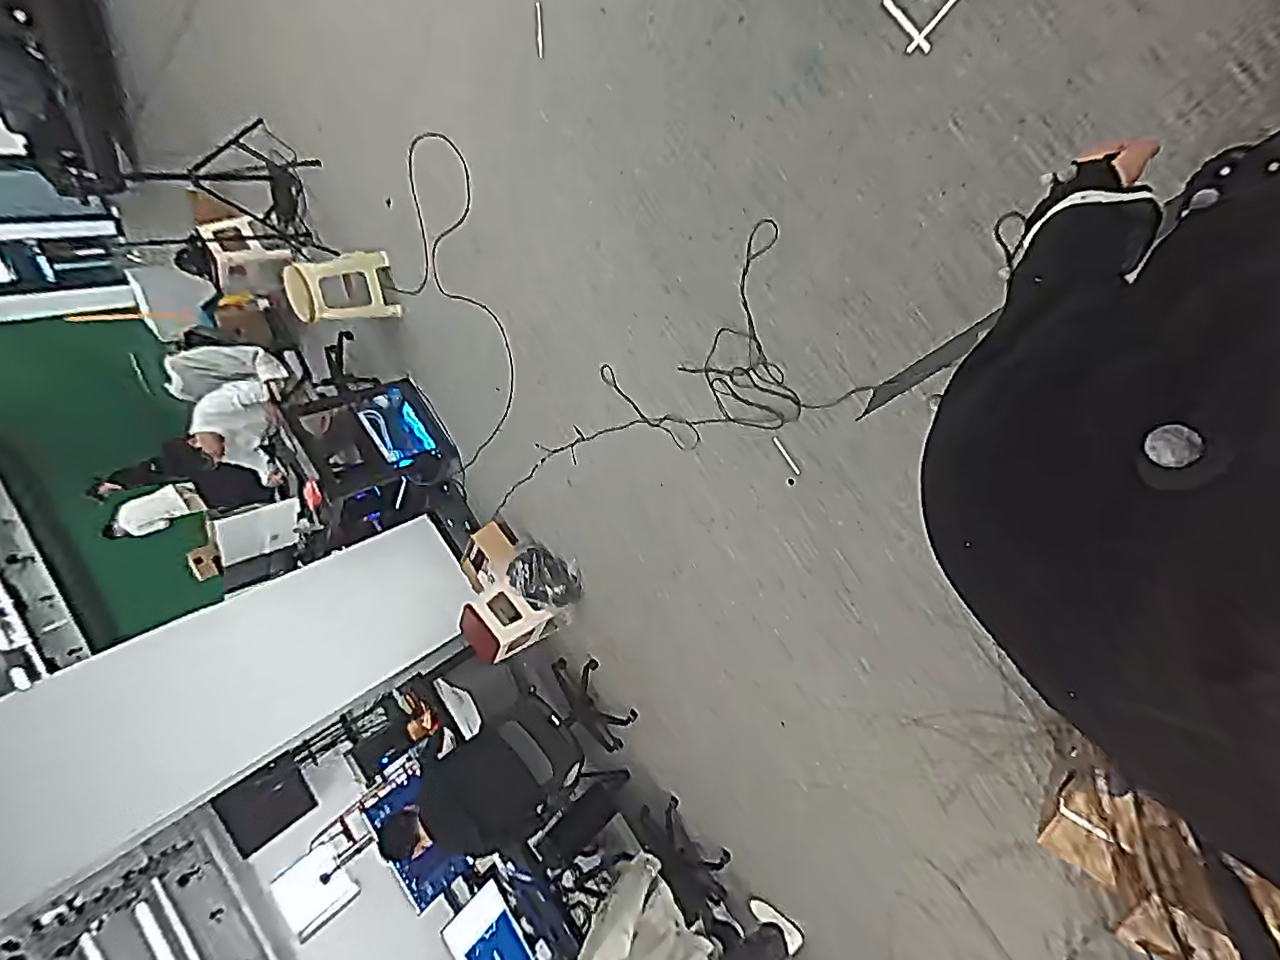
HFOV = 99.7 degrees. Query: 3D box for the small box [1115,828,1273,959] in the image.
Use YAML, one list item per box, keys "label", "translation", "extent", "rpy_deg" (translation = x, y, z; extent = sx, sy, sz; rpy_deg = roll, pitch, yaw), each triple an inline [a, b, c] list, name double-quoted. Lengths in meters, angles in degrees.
- label: "small box"
  translation: [1.077, 0.843, 1.059]
  extent: [0.168, 0.176, 0.179]
  rpy_deg: [24, 126, 35]
